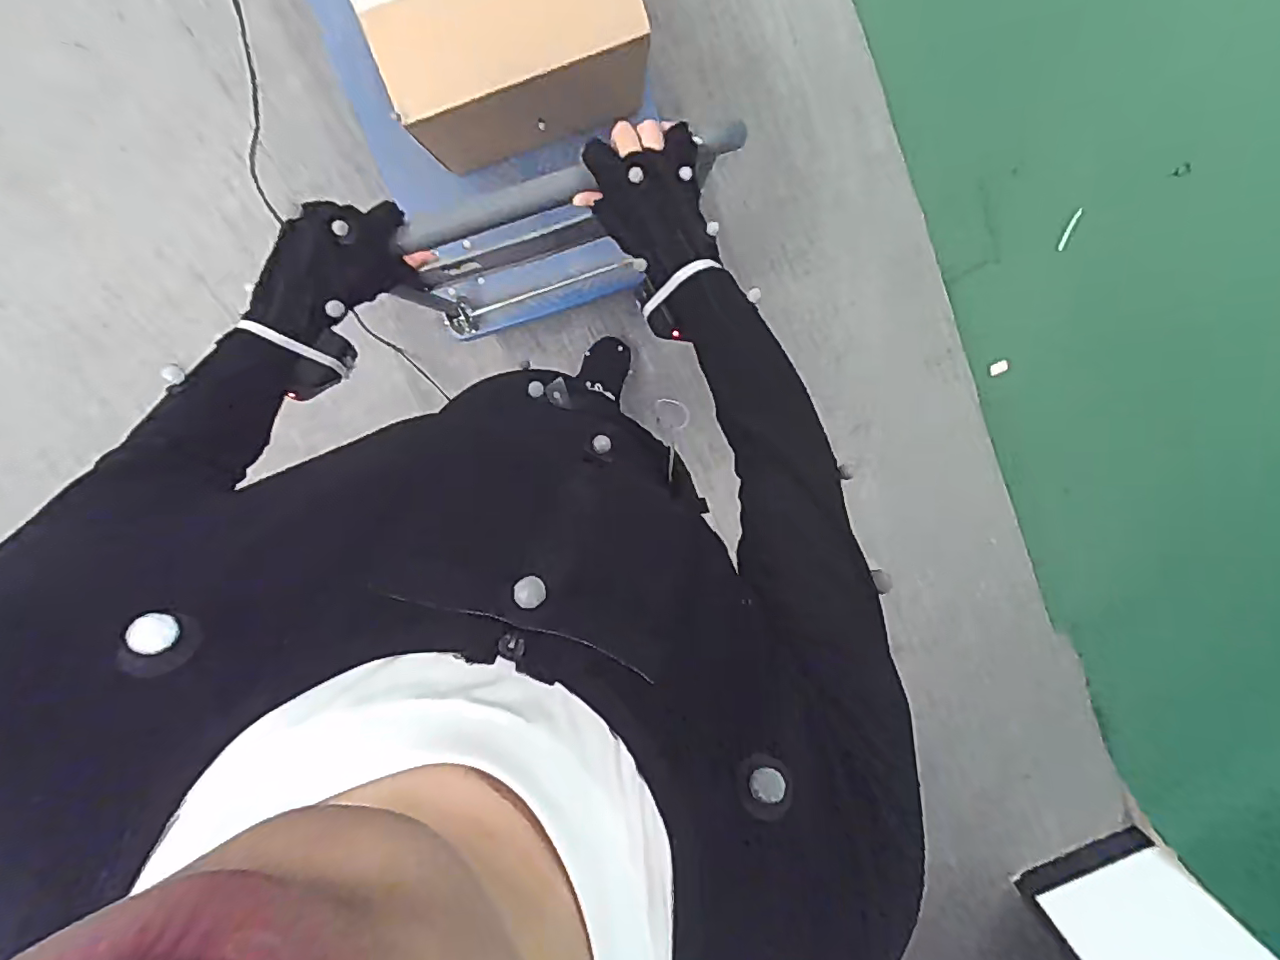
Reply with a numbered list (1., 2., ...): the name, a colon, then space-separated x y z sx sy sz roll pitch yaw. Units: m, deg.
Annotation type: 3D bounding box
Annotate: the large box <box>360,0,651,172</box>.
1. large box: -0.221 -0.792 0.929 0.408 0.320 0.320 -19 106 4
